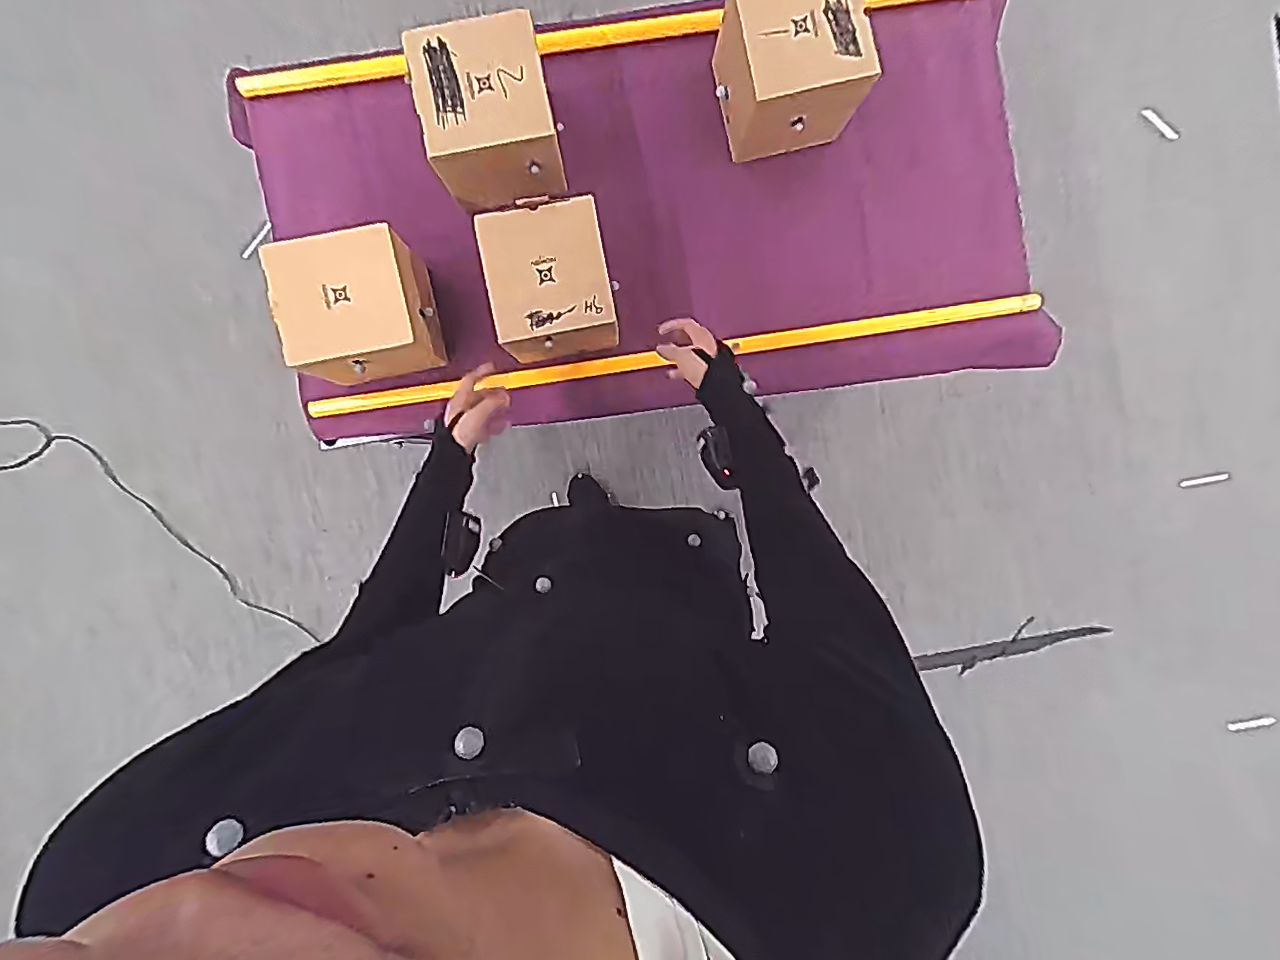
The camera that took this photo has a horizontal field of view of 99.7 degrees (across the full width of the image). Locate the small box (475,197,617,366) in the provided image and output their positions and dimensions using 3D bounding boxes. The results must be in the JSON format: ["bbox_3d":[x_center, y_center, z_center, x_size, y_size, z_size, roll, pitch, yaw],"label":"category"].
[{"bbox_3d":[-0.129,-0.282,0.803,0.168,0.176,0.179,-10,92,0],"label":"small box"}]

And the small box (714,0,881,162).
[{"bbox_3d":[0.220,-0.606,0.794,0.179,0.176,0.168,-13,94,1],"label":"small box"}]

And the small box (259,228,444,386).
[{"bbox_3d":[-0.406,-0.244,0.798,0.179,0.176,0.168,-12,92,-1],"label":"small box"}]
